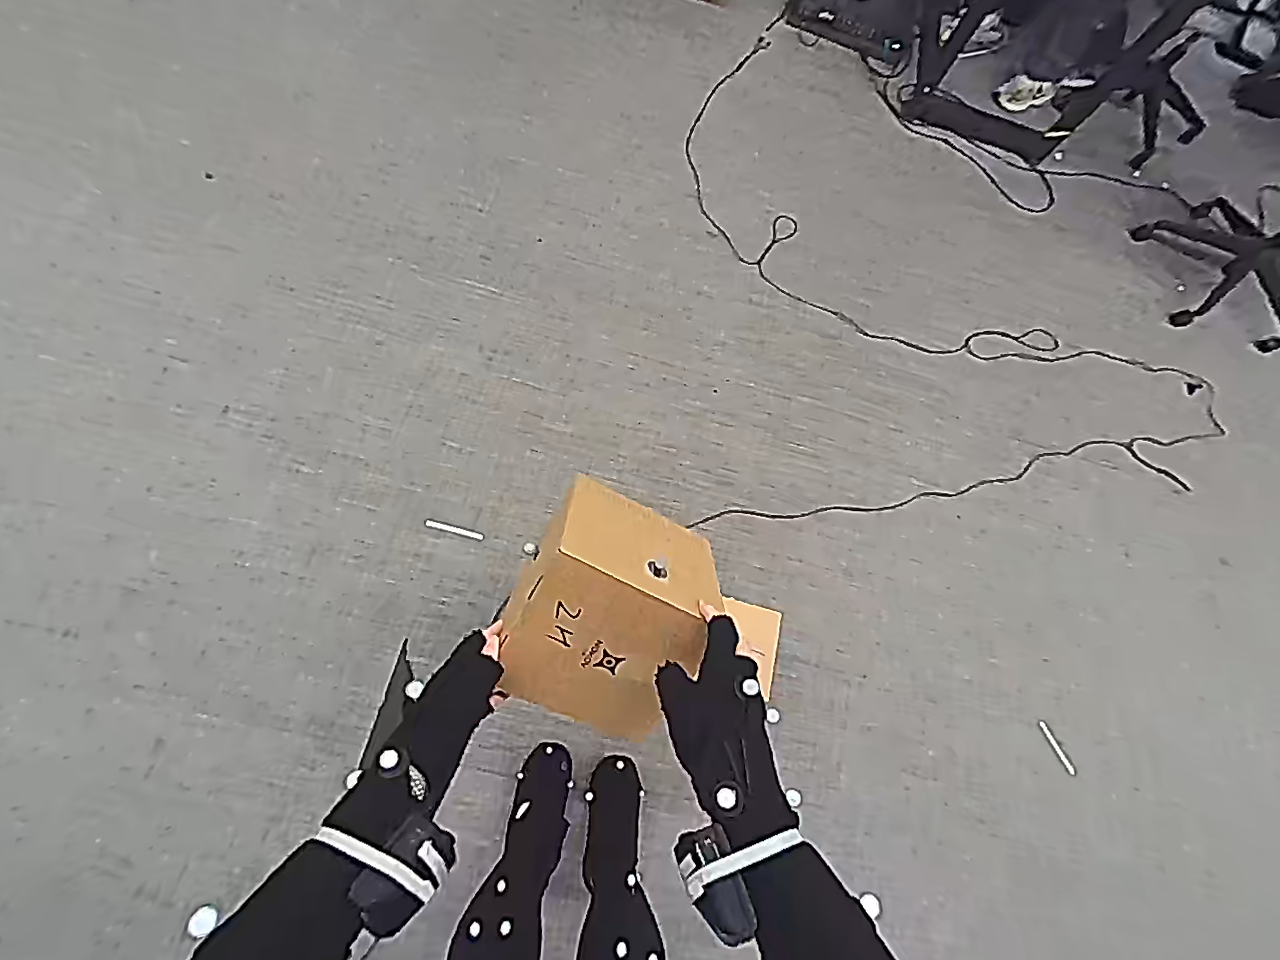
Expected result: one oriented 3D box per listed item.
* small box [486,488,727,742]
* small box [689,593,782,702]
[{"bbox_3d":[-0.033,0.133,0.580,0.179,0.176,0.168,29,109,-11],"label":"small box"},{"bbox_3d":[0.152,0.326,1.068,0.179,0.176,0.168,18,71,-6],"label":"small box"}]
